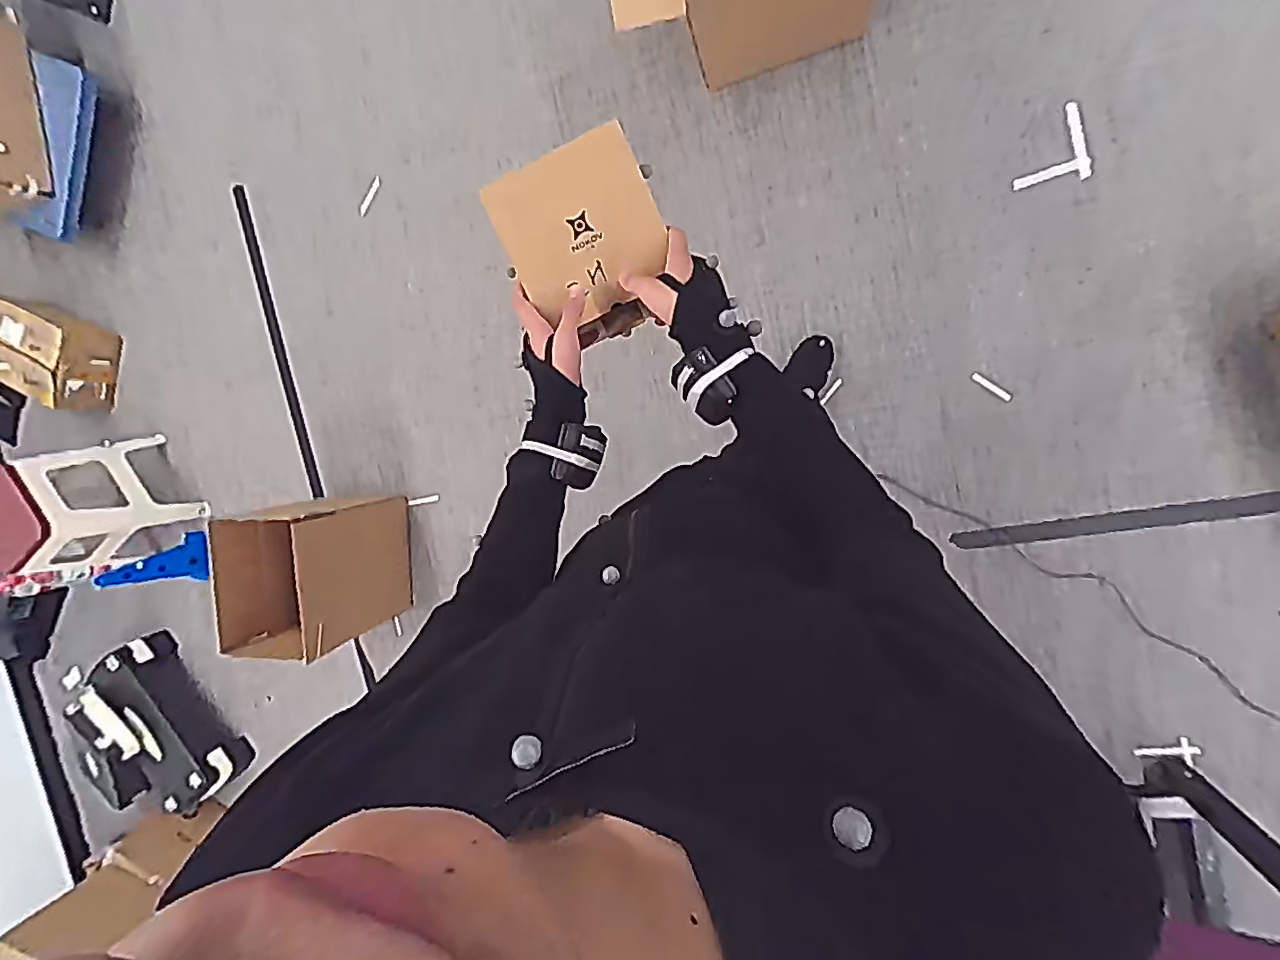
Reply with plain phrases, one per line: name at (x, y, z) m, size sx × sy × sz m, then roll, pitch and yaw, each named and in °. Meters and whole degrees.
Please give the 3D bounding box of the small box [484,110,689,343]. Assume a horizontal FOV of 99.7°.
small box at (-0.056, -0.281, 0.645) m, size 0.168 × 0.176 × 0.179 m, roll -25°, pitch 98°, yaw 5°
